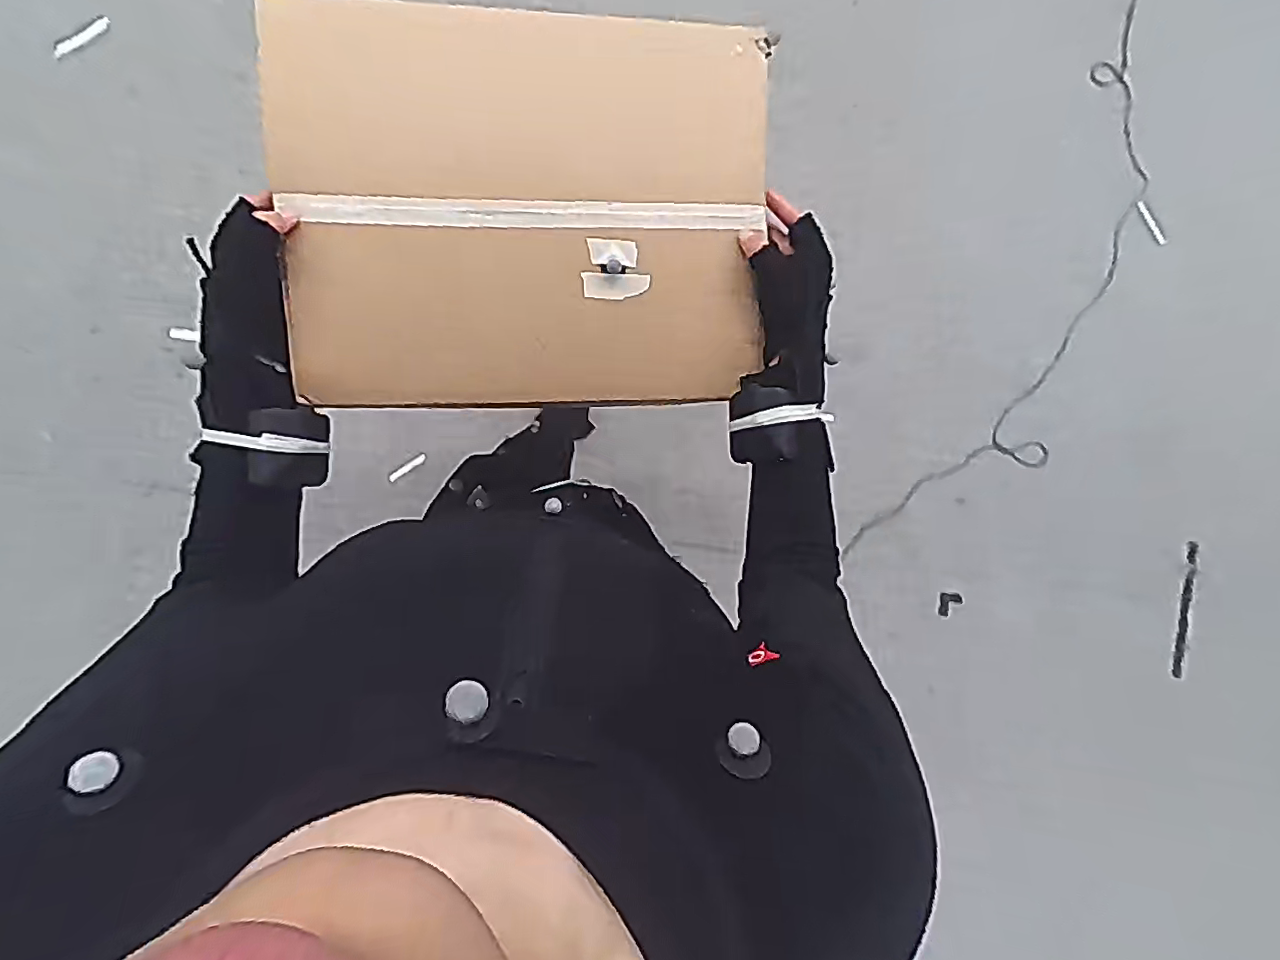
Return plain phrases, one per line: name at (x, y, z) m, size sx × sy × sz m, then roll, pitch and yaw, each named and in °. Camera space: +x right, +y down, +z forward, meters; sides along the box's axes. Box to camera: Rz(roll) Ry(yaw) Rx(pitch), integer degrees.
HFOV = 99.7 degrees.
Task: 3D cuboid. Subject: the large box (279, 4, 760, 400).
large box at (-0.108, -0.256, 0.619) m, size 0.408 × 0.320 × 0.320 m, roll -2°, pitch 99°, yaw -8°
